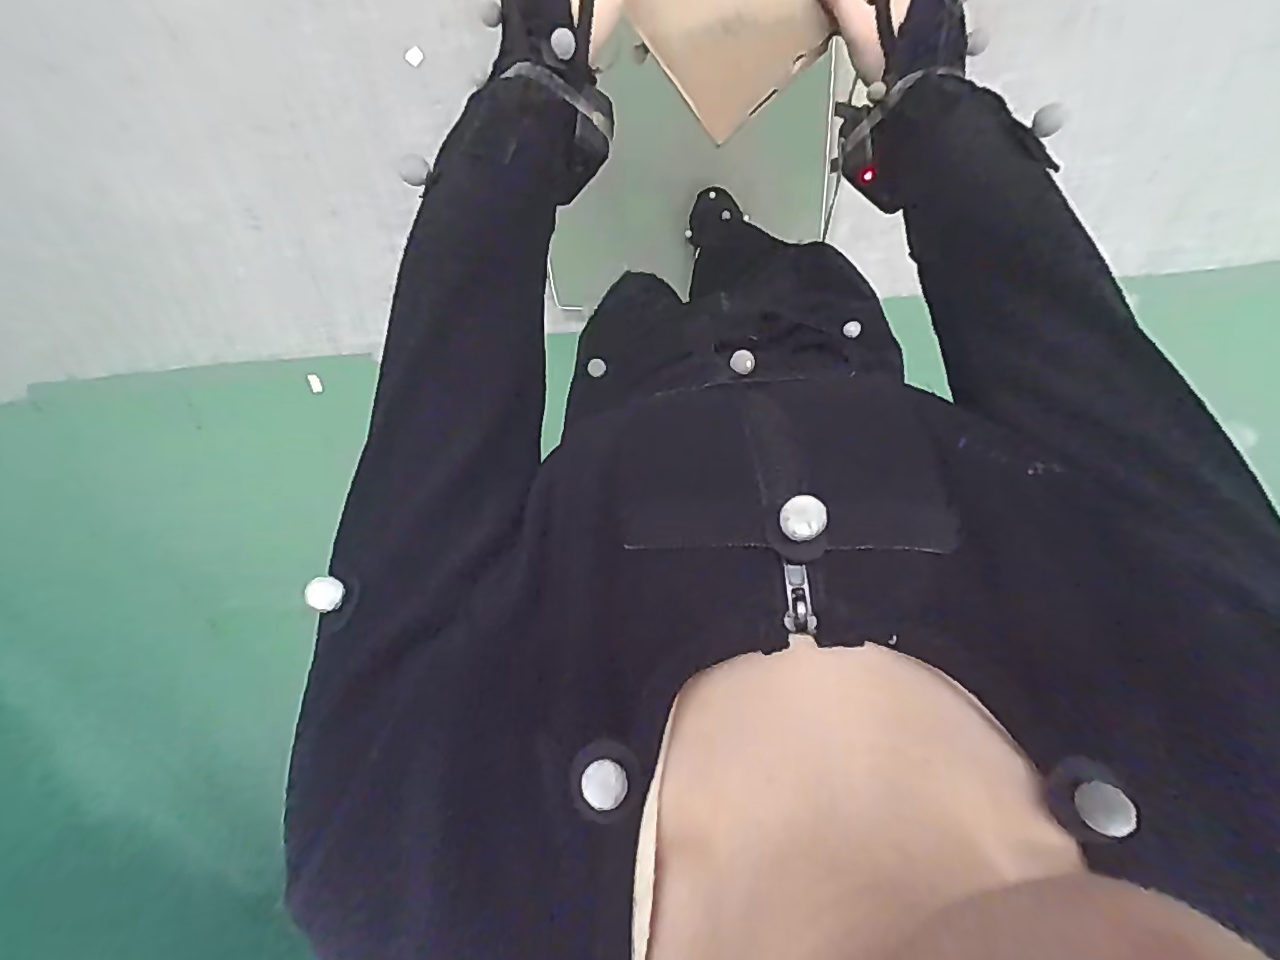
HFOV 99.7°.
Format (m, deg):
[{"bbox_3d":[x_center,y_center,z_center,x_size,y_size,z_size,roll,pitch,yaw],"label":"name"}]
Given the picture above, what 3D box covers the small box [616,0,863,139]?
[{"bbox_3d":[0.066,-0.431,0.445,0.168,0.176,0.179,-36,123,25],"label":"small box"}]
